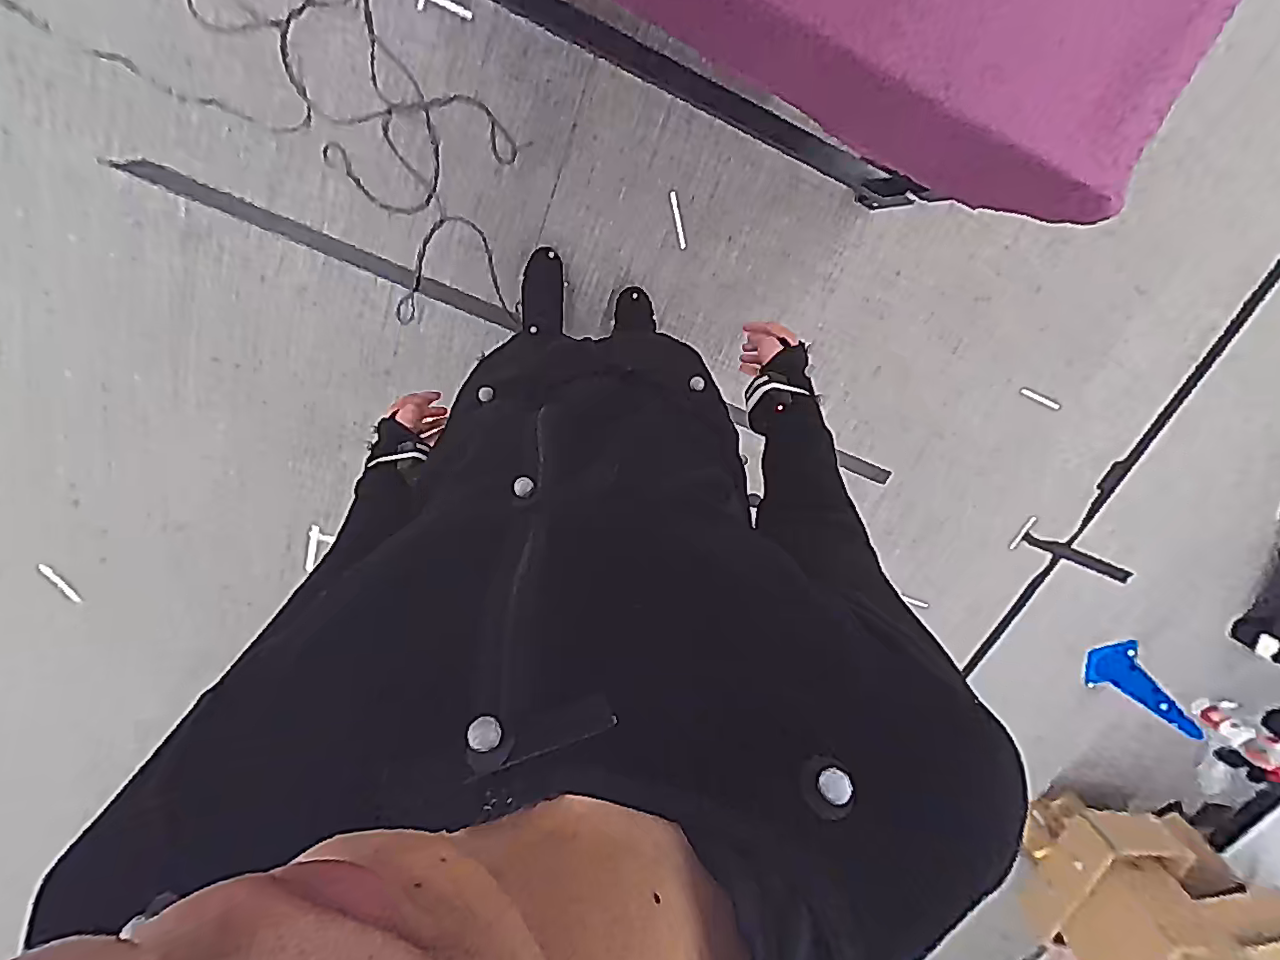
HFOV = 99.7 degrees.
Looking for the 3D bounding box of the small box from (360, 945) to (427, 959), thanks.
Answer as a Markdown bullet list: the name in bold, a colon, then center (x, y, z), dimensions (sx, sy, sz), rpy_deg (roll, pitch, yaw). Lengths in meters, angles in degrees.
- **small box**: center (-0.630, 1.272, 1.305), dimensions (0.168, 0.176, 0.179), rpy_deg (25, 110, -15)
